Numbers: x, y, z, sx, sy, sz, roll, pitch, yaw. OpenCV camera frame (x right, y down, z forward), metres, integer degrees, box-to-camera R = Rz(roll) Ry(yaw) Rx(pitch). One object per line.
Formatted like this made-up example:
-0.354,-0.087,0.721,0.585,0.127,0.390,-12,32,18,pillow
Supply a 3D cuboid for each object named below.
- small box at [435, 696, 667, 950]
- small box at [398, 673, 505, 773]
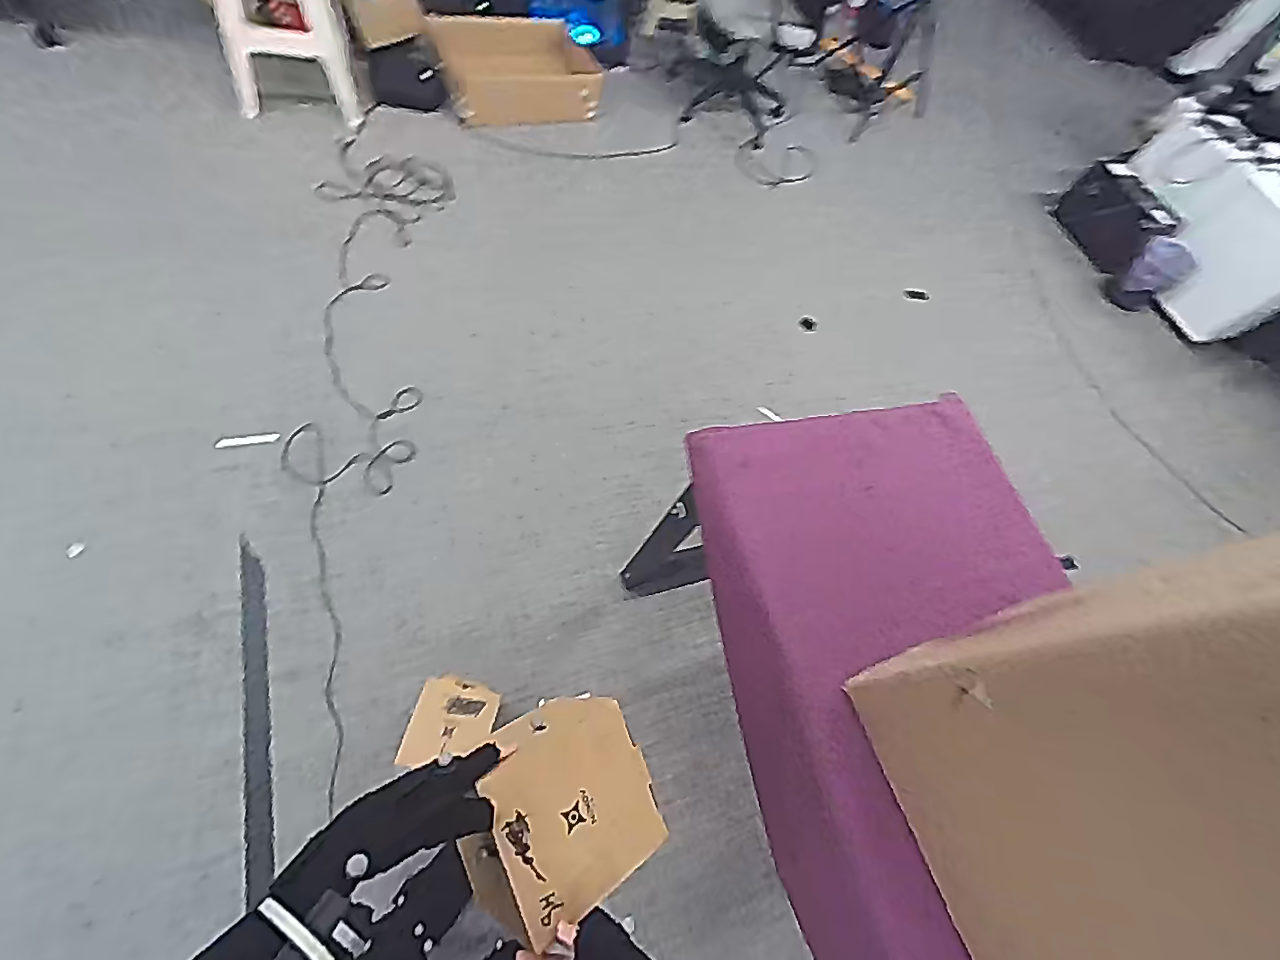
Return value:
-0.107,0.364,0.619,0.179,0.176,0.168,-19,82,-39,small box
-0.408,0.544,1.189,0.168,0.176,0.179,18,61,-6,small box
